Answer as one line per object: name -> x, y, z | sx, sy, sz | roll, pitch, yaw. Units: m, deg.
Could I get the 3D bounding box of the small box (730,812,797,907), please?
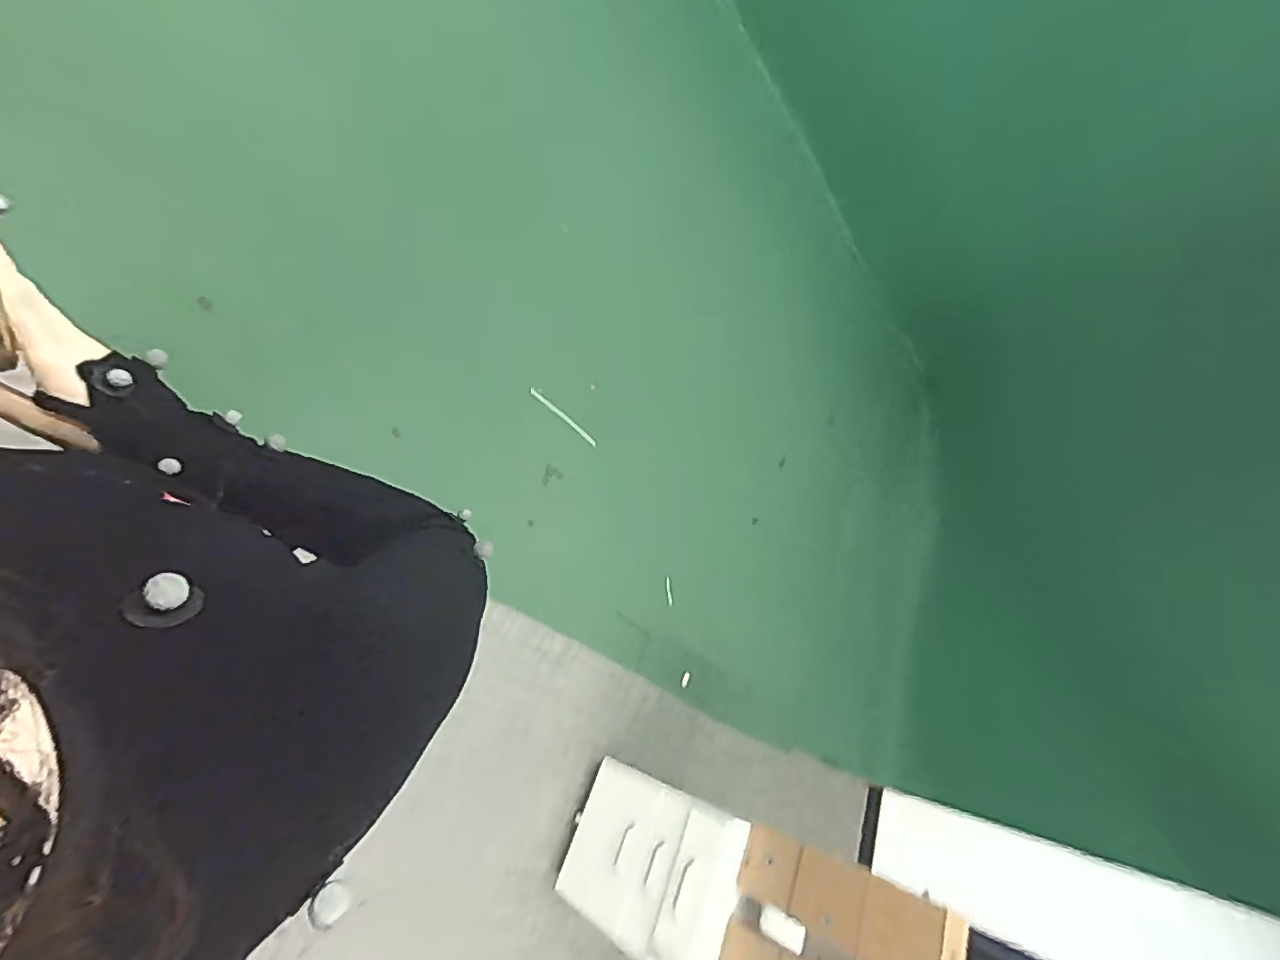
small box -> 0.370, 1.029, 1.460 | 0.179, 0.176, 0.168 | 42, 61, -33

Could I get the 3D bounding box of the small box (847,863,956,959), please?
small box -> 0.588, 1.005, 1.219 | 0.168, 0.176, 0.179 | 44, 60, -33

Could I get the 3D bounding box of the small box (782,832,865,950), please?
small box -> 0.471, 1.012, 1.334 | 0.168, 0.176, 0.179 | 42, 60, -35

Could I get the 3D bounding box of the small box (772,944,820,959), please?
small box -> 0.393, 1.213, 1.239 | 0.168, 0.176, 0.179 | 44, 58, -32
